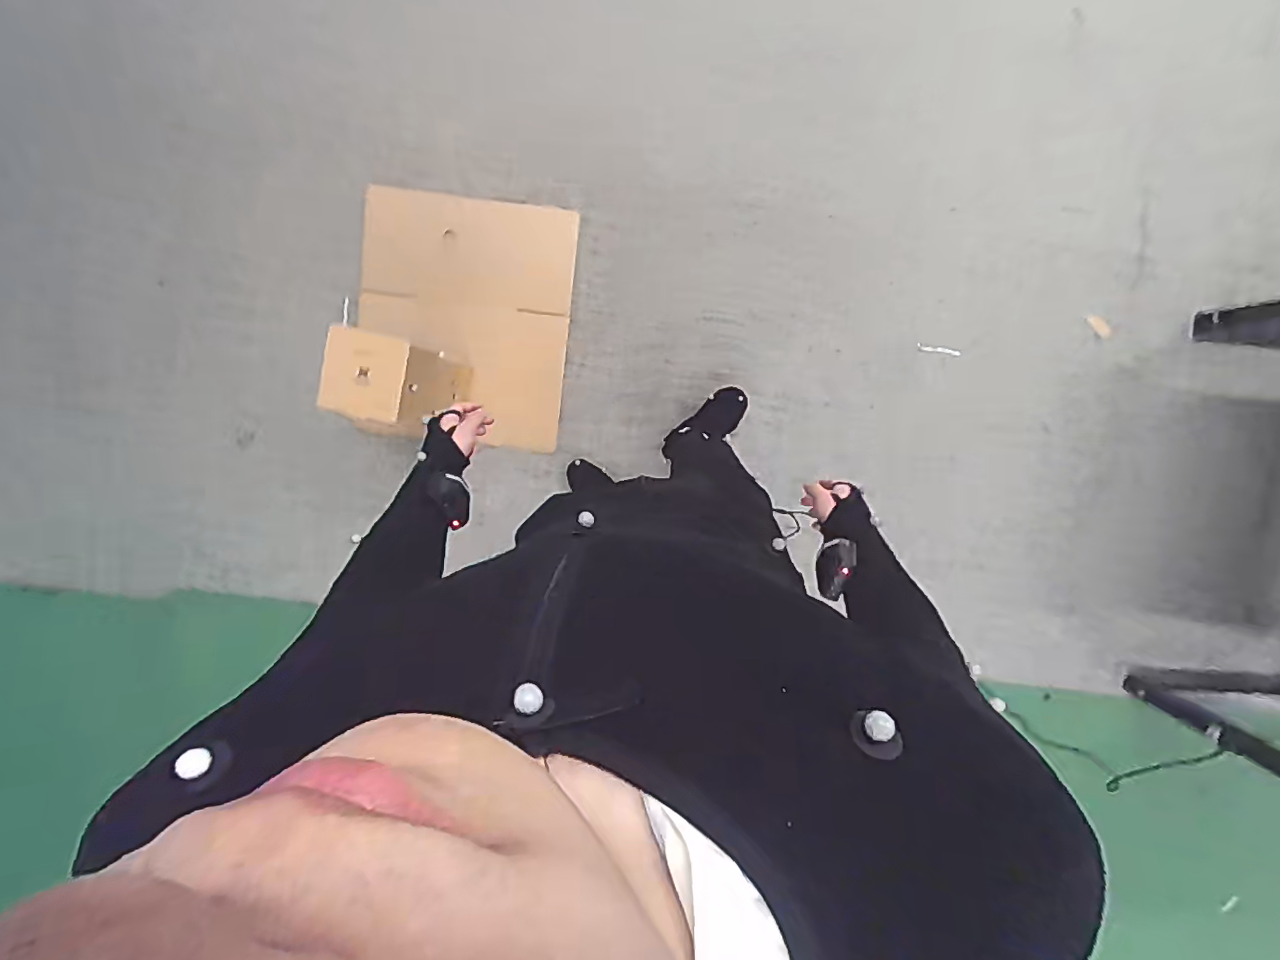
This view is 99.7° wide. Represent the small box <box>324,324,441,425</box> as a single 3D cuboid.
[{"bbox_3d":[-0.558,-0.225,1.191,0.168,0.176,0.179,13,96,-2],"label":"small box"}]

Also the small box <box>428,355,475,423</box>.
[{"bbox_3d":[-0.575,-0.261,1.516,0.168,0.176,0.179,11,96,-1],"label":"small box"}]
